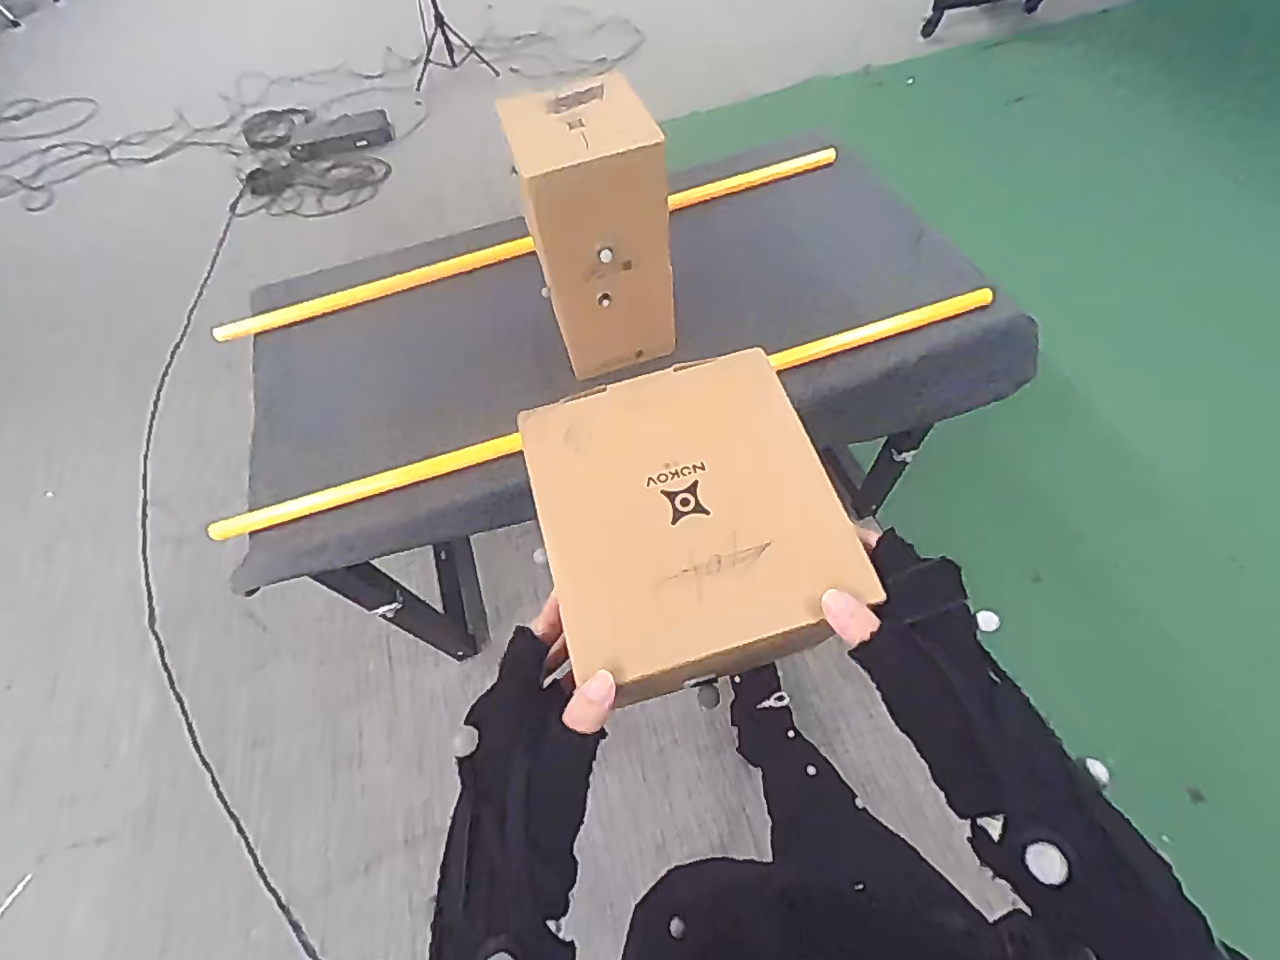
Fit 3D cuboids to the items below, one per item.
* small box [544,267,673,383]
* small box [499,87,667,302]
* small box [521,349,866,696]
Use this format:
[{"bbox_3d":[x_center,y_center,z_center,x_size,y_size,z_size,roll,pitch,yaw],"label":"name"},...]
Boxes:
[{"bbox_3d":[-0.054,-0.284,0.848,0.168,0.176,0.179,-18,59,-4],"label":"small box"},{"bbox_3d":[-0.069,-0.367,0.706,0.168,0.176,0.179,-18,60,-6],"label":"small box"},{"bbox_3d":[0.026,0.041,0.391,0.168,0.176,0.179,-16,64,-4],"label":"small box"}]
